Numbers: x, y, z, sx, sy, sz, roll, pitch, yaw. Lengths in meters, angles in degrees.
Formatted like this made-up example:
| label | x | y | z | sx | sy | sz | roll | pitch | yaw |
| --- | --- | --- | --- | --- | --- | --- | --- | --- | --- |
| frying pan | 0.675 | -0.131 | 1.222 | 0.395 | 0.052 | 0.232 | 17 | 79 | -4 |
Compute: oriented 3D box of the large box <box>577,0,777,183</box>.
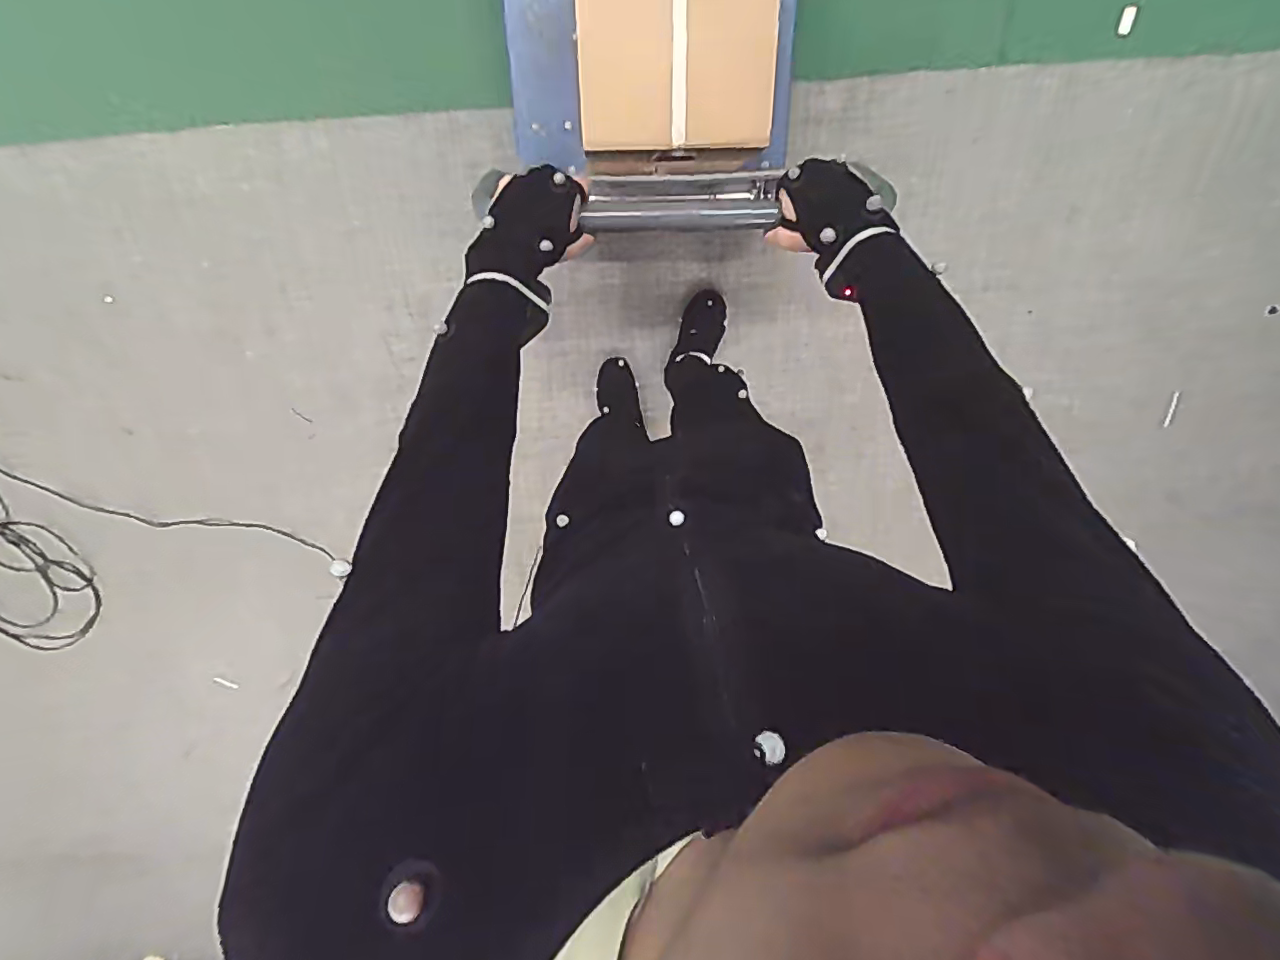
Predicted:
| label | x | y | z | sx | sy | sz | roll | pitch | yaw |
| --- | --- | --- | --- | --- | --- | --- | --- | --- | --- |
| large box | 0.056 | -0.781 | 0.965 | 0.320 | 0.320 | 0.408 | -2 | 112 | -1 |
